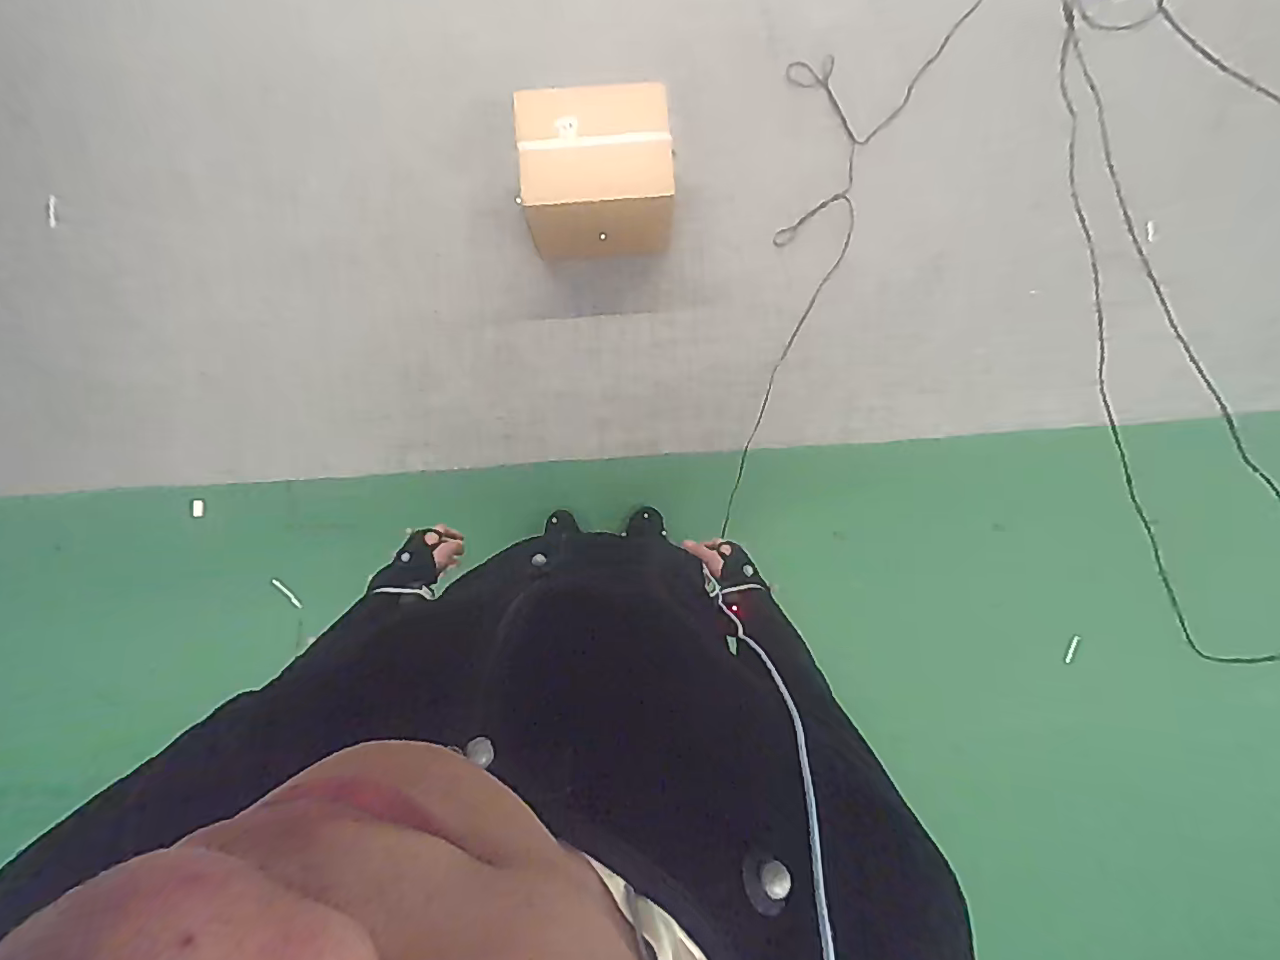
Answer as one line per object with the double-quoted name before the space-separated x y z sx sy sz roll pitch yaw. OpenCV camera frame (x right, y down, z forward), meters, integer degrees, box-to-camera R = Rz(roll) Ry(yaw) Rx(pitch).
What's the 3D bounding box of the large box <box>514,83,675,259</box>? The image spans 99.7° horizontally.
"large box" -0.119 -0.871 1.569 0.408 0.320 0.320 -6 87 0
